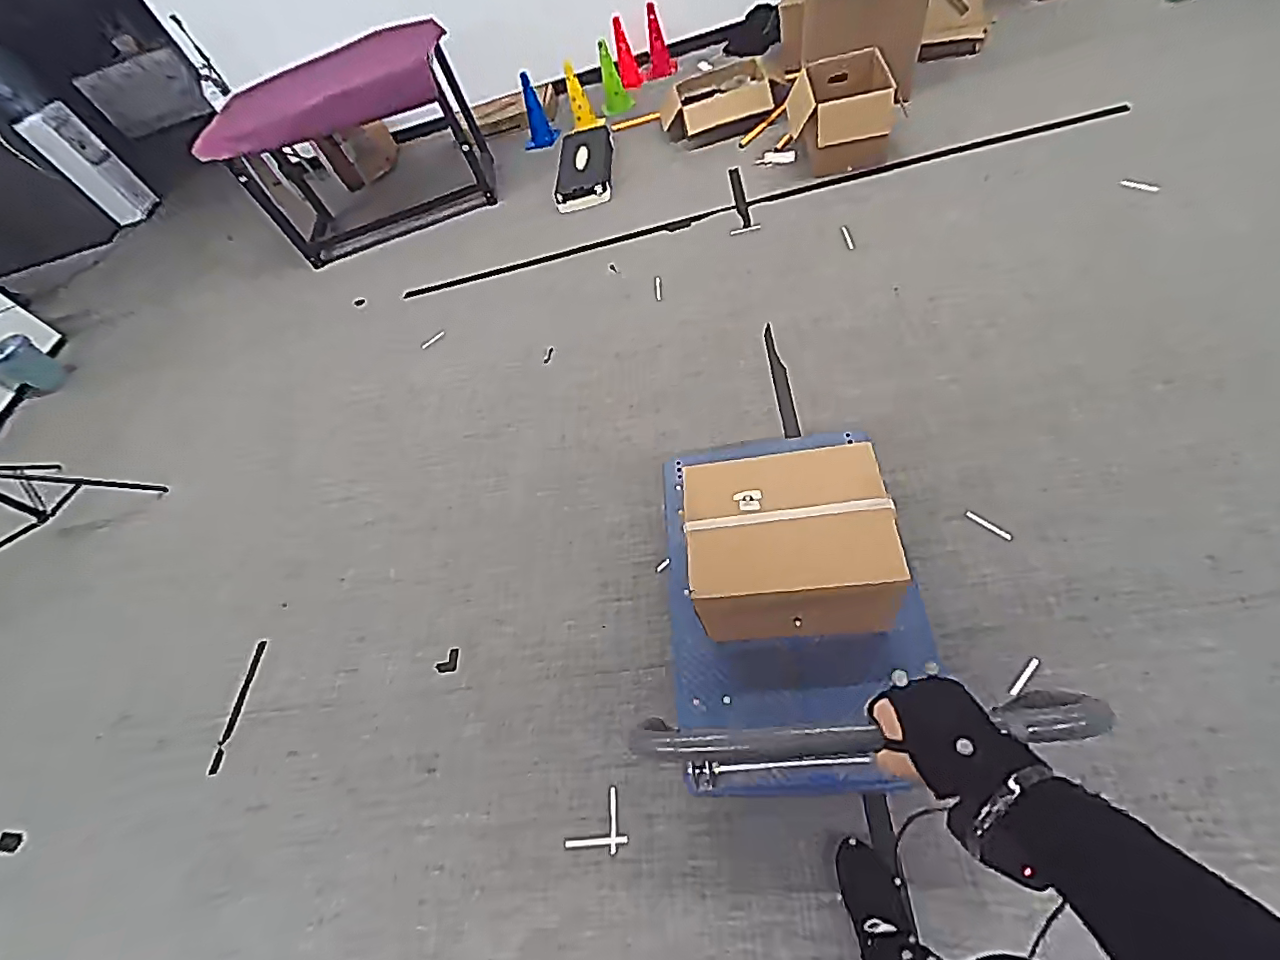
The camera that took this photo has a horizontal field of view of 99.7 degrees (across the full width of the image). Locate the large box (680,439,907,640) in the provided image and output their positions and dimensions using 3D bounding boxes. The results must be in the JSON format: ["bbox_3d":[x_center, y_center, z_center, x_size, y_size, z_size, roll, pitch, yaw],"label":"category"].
[{"bbox_3d":[0.323,0.149,1.206,0.408,0.320,0.320,-9,56,12],"label":"large box"}]
